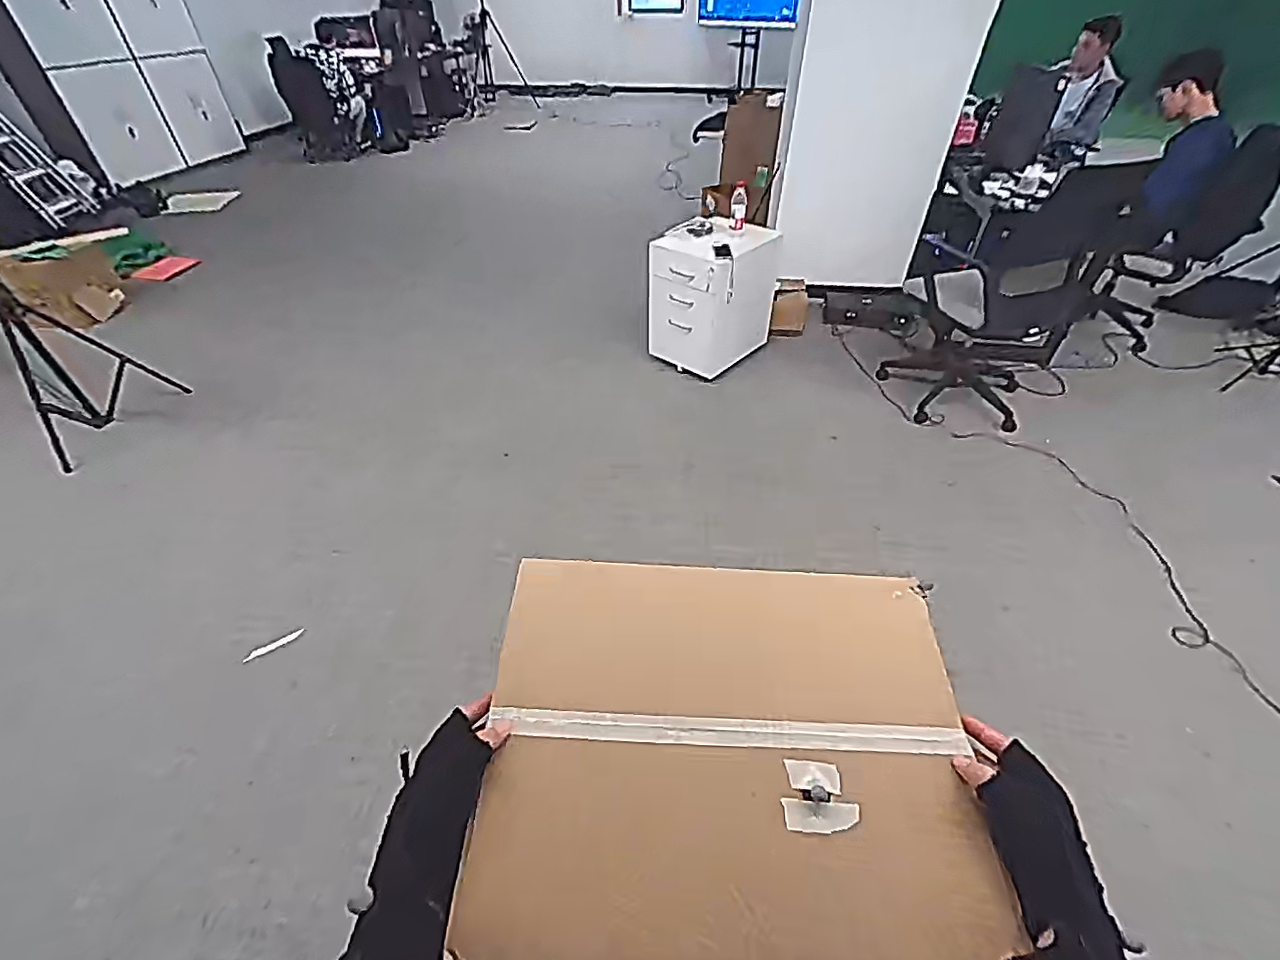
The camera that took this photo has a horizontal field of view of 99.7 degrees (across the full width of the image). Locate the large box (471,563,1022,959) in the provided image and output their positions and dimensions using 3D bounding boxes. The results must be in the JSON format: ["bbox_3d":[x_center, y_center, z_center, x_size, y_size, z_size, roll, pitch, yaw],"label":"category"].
[{"bbox_3d":[0.074,0.307,0.590,0.408,0.320,0.320,3,52,0],"label":"large box"}]
